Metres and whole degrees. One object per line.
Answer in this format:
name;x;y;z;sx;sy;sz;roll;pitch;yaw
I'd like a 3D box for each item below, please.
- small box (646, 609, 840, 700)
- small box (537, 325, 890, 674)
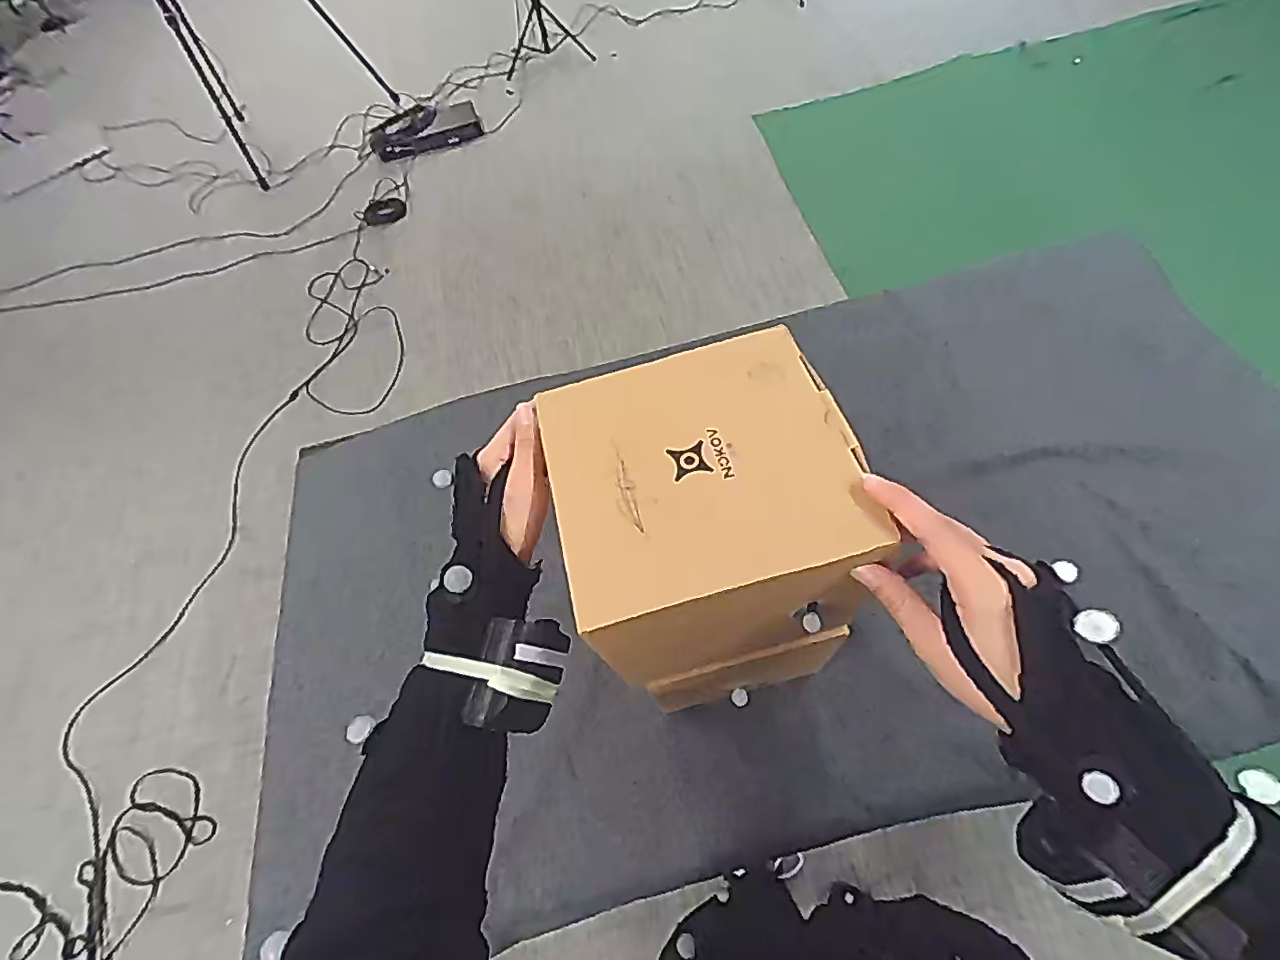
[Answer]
small box;0.070;0.101;0.533;0.168;0.176;0.179;-15;61;1
small box;0.043;0.025;0.391;0.179;0.176;0.168;-17;58;1
